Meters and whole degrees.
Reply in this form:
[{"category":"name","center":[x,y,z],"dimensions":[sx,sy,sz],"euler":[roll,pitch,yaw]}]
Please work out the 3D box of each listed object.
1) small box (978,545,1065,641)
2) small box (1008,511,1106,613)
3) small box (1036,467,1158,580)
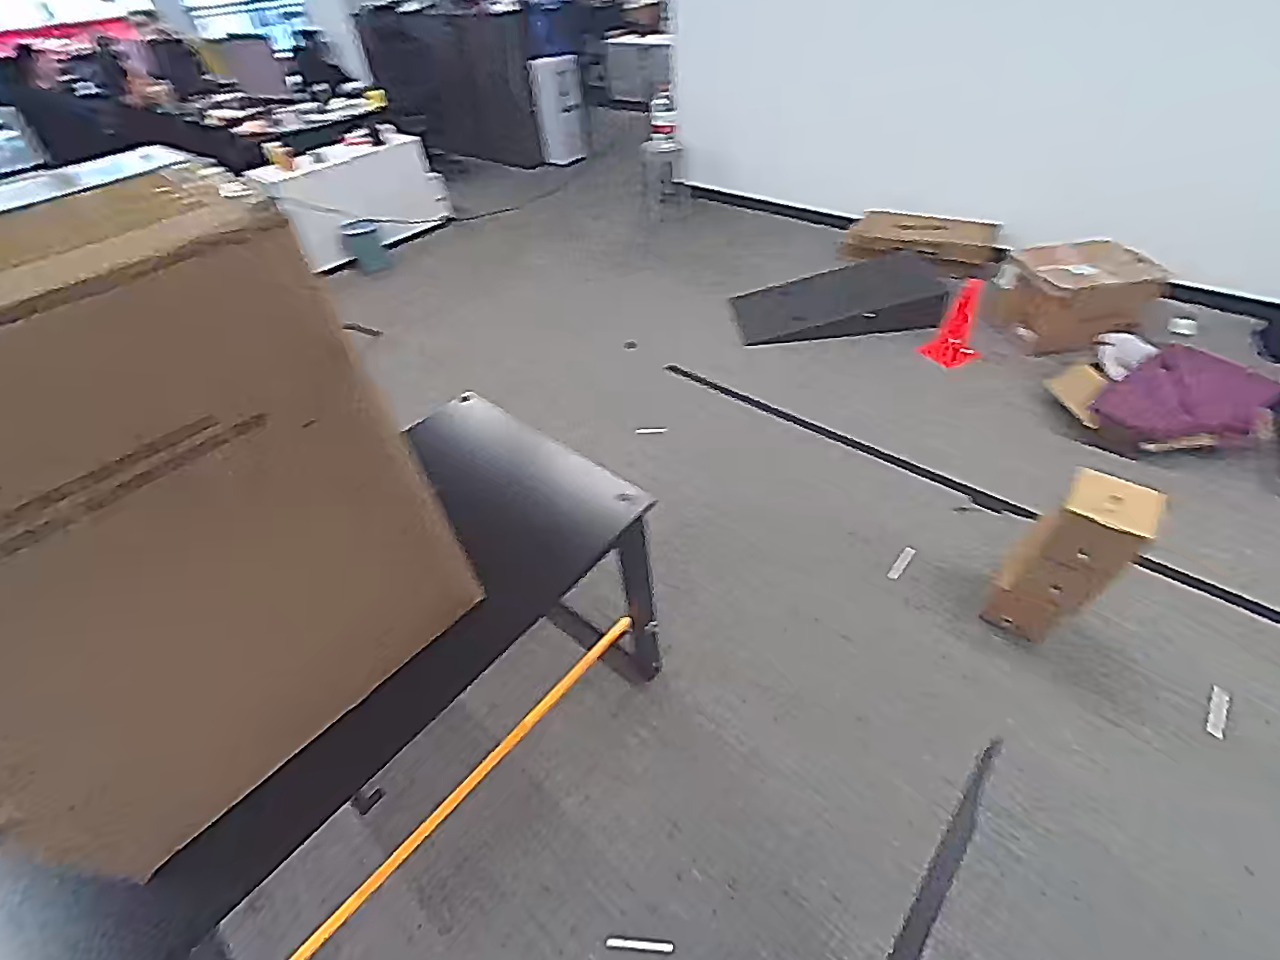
[{"category":"small box","center":[1.106,0.327,1.560],"dimensions":[0.168,0.176,0.179],"euler":[23,54,27]},{"category":"small box","center":[1.107,0.220,1.434],"dimensions":[0.168,0.176,0.179],"euler":[23,52,26]},{"category":"small box","center":[1.103,0.105,1.314],"dimensions":[0.168,0.176,0.179],"euler":[27,54,29]}]
